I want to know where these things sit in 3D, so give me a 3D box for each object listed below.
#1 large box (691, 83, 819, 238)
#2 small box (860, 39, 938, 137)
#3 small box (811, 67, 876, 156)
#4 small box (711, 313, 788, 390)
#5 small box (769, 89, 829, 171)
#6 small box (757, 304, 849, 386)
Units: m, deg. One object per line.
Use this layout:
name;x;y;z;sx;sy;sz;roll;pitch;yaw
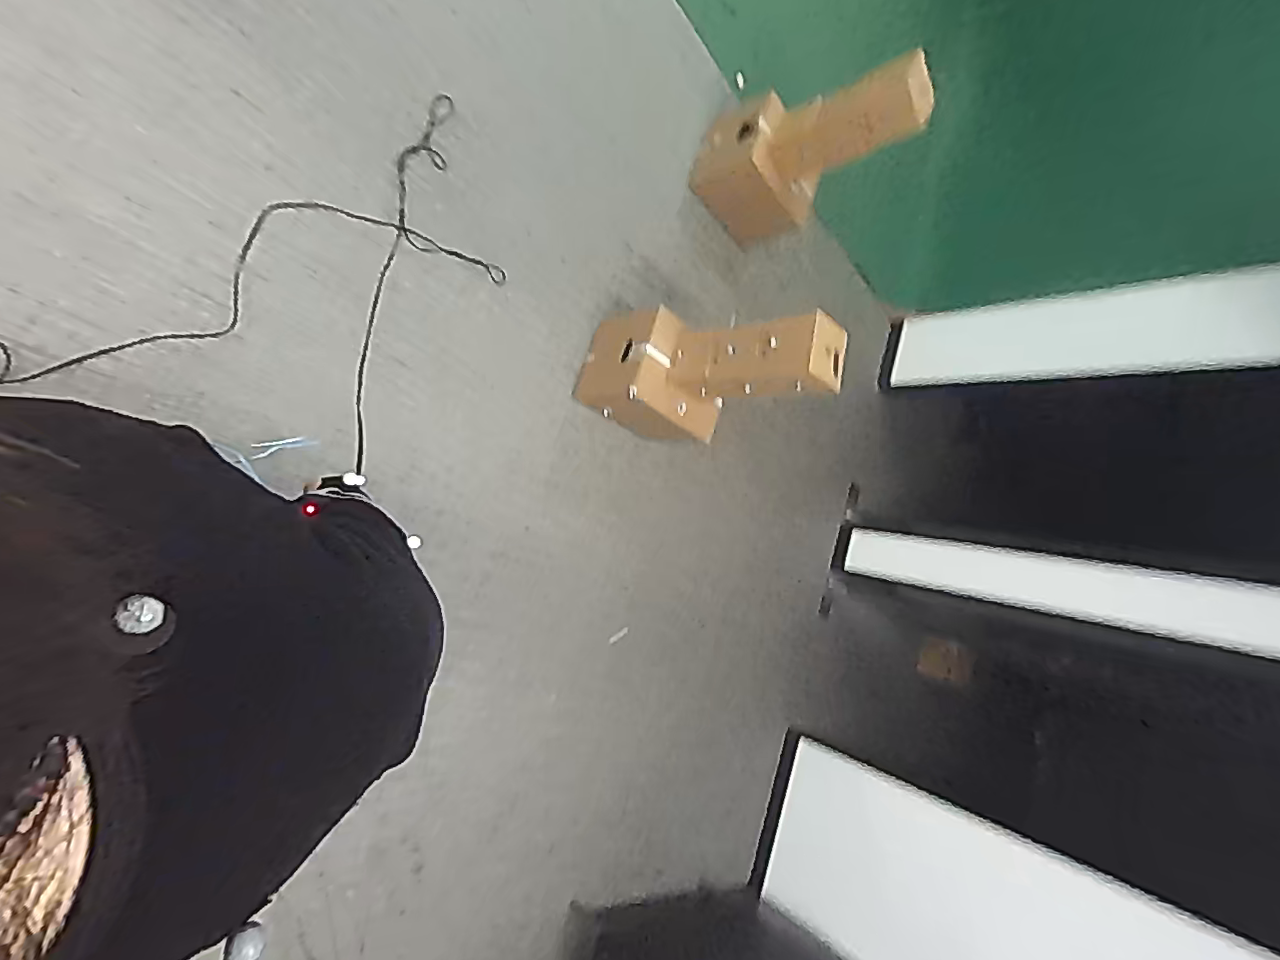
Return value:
large box;0.472;-1.267;2.193;0.408;0.320;0.320;27;76;-42
small box;0.834;-1.260;1.751;0.168;0.176;0.179;45;64;-36
small box;0.722;-1.261;1.872;0.179;0.176;0.168;44;65;-35
small box;0.335;-0.372;1.609;0.179;0.176;0.168;16;83;-42
small box;0.604;-1.272;1.983;0.179;0.176;0.168;40;67;-37
small box;0.449;-0.362;1.490;0.179;0.176;0.168;15;83;-42
